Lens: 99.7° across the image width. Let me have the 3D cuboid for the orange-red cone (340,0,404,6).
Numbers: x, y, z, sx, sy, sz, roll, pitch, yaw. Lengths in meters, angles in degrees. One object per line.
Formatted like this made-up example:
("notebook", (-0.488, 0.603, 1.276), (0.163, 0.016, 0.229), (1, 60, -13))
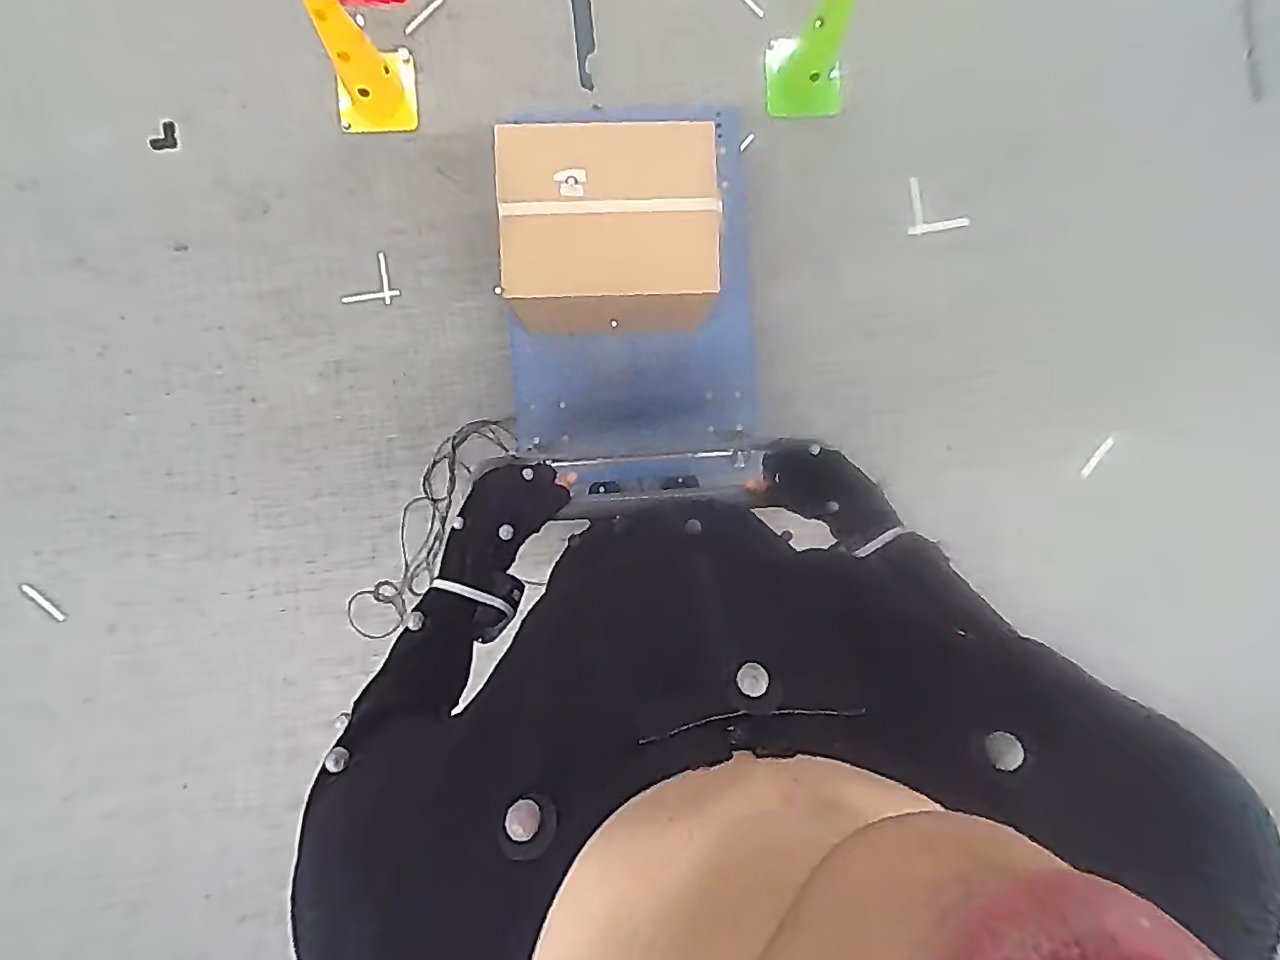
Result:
("orange-red cone", (-0.705, -1.347, 1.245), (0.198, 0.360, 0.199), (0, 90, -3))

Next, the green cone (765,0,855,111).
("green cone", (0.446, -1.091, 1.283), (0.202, 0.368, 0.200), (-3, 92, -3))

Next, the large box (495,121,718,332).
("large box", (-0.060, -0.504, 1.143), (0.408, 0.320, 0.320), (-2, 92, -1))
